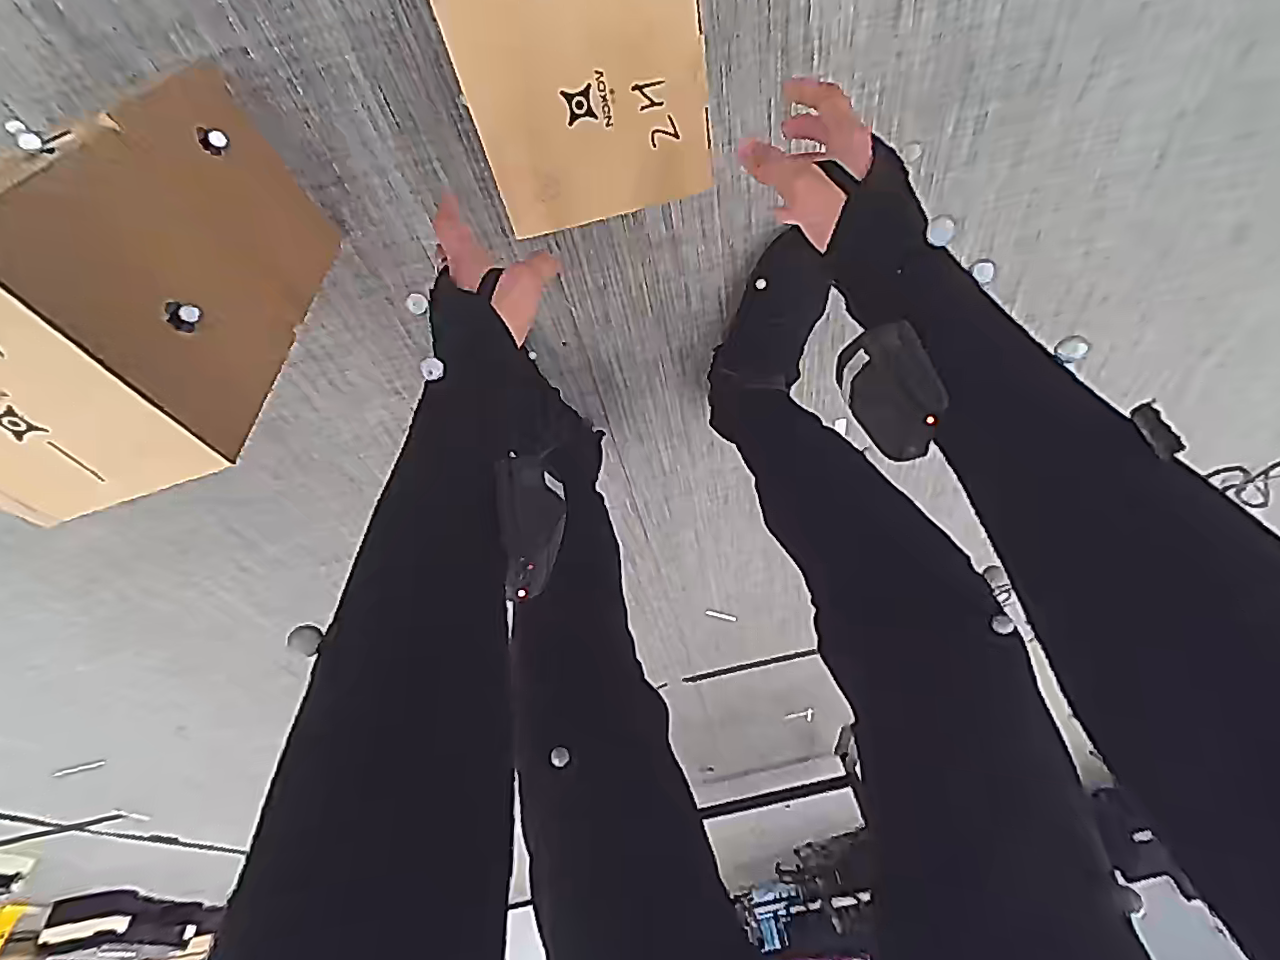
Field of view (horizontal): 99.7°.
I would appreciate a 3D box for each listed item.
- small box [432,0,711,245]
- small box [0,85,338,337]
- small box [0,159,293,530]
[{"bbox_3d":[-0.049,-0.329,0.453,0.179,0.176,0.168,-14,139,1],"label":"small box"},{"bbox_3d":[-0.413,-0.222,0.486,0.168,0.176,0.179,-18,138,7],"label":"small box"},{"bbox_3d":[-0.394,-0.097,0.382,0.168,0.176,0.179,-16,139,6],"label":"small box"}]
